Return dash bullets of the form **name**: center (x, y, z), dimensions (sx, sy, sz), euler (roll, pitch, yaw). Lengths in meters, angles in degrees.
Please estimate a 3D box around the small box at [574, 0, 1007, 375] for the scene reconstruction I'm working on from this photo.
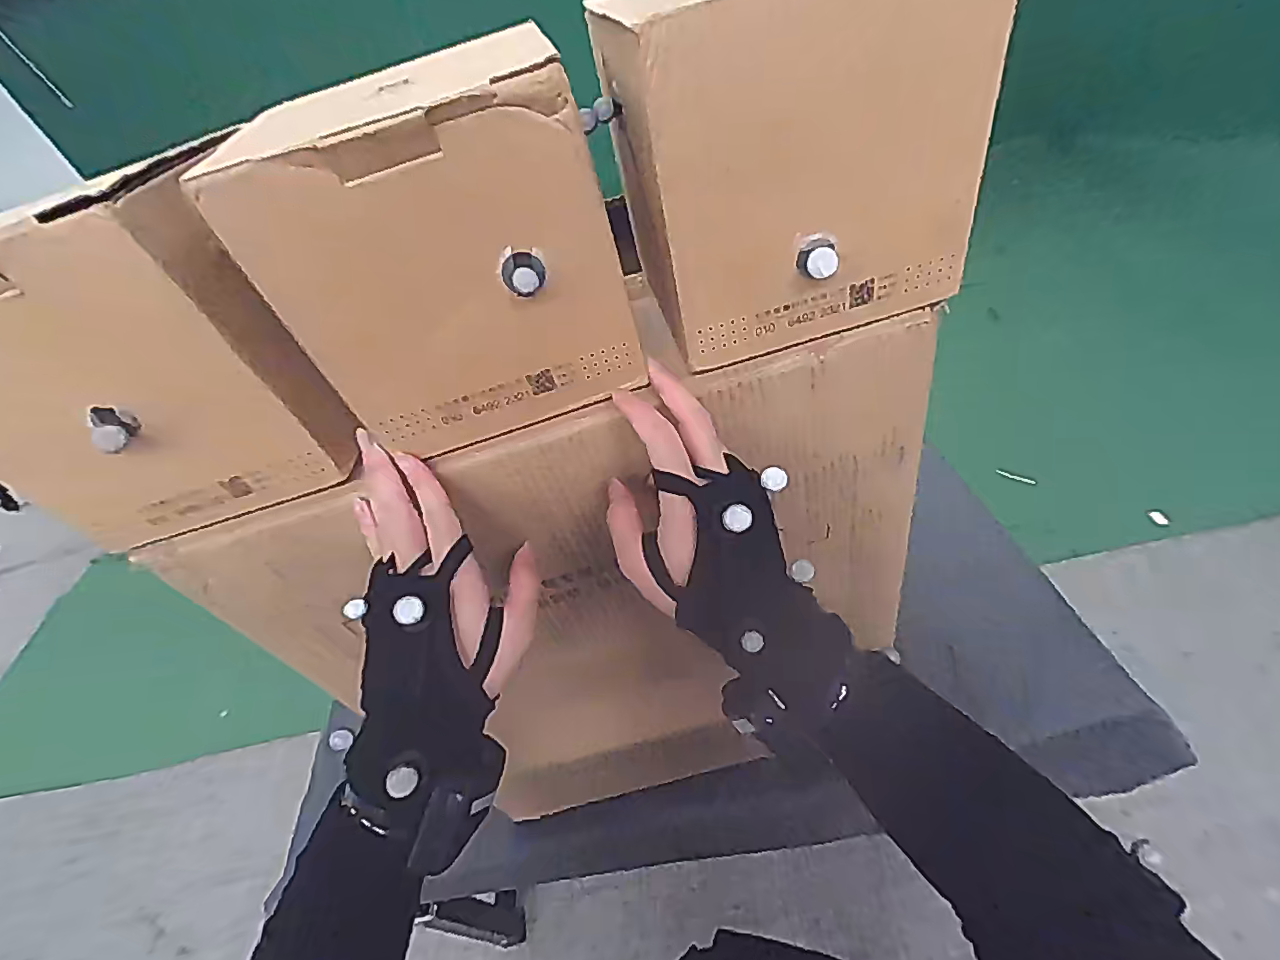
- **small box**: center (0.068, -0.190, 0.318), dimensions (0.168, 0.176, 0.179), euler (-17, 44, 3)

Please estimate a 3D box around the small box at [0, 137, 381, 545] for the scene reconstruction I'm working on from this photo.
- **small box**: center (-0.294, -0.079, 0.342), dimensions (0.168, 0.176, 0.179), euler (-17, 43, 4)
